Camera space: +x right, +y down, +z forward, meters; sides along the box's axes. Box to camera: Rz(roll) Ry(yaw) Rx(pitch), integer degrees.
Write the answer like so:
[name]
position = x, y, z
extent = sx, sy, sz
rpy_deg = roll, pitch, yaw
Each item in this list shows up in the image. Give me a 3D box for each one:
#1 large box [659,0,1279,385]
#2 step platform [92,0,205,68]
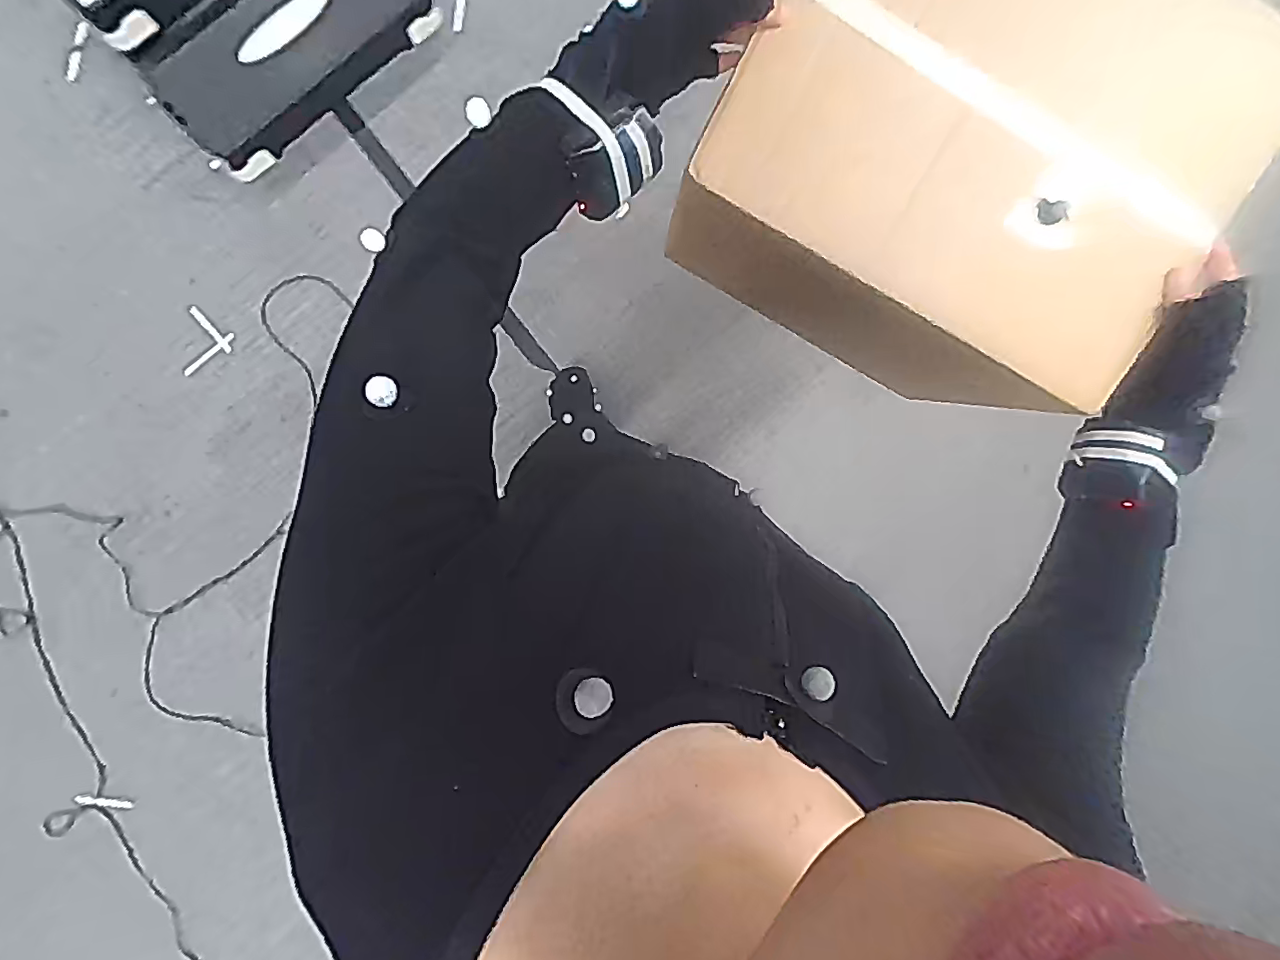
[large box]
position = 0.270, -0.326, 0.575
extent = 0.408, 0.320, 0.320
rpy_deg = 26, 100, -7
[step platform]
position = -0.974, -1.301, 1.222
extent = 0.684, 0.204, 0.286
rpy_deg = -42, 96, -3
